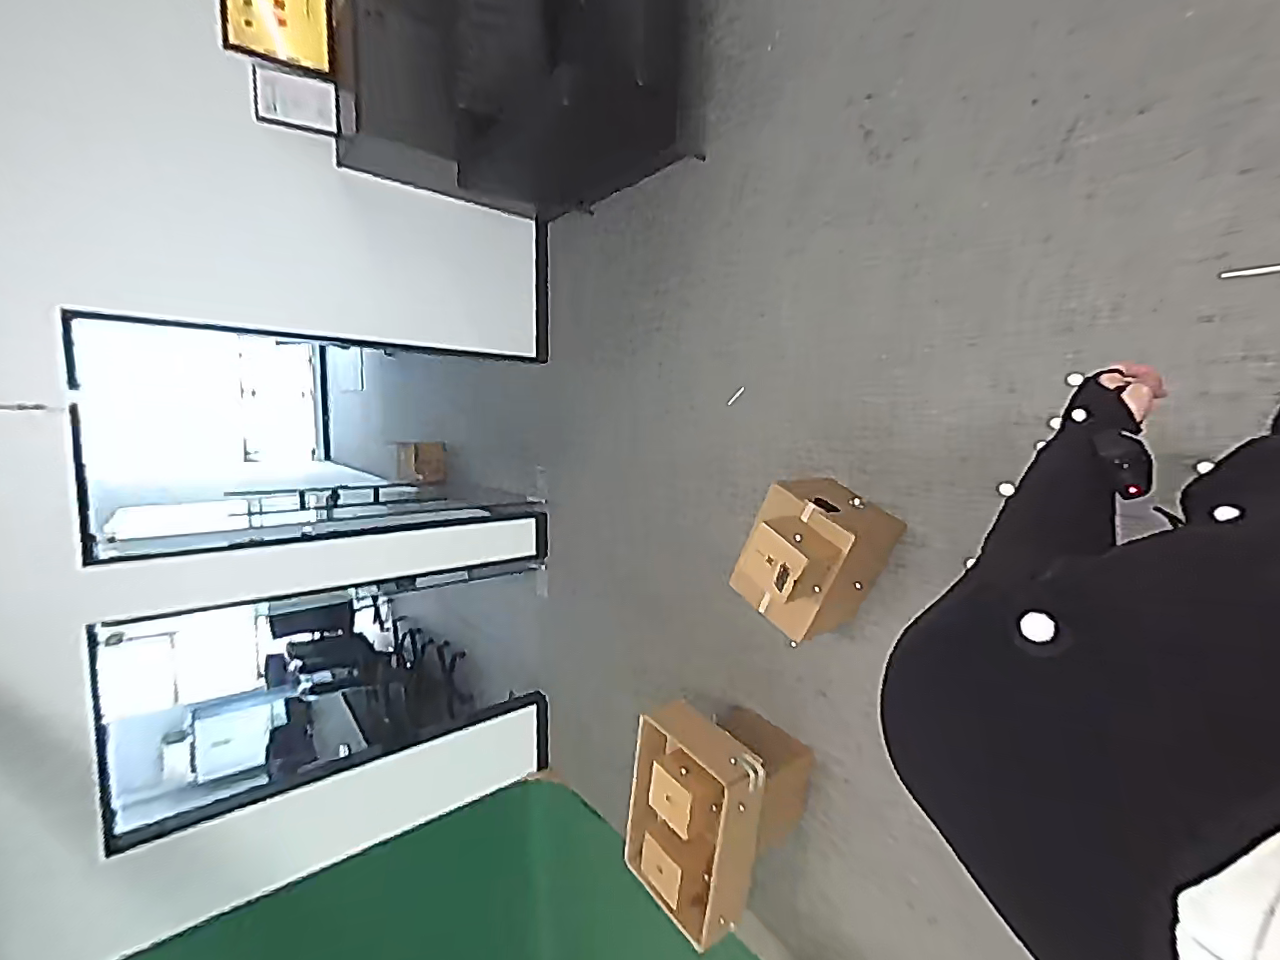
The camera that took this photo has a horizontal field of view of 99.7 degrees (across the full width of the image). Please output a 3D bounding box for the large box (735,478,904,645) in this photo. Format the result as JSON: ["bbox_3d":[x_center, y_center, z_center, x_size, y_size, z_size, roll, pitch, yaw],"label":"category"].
[{"bbox_3d":[0.572,0.243,1.747,0.320,0.320,0.408,40,123,42],"label":"large box"}]

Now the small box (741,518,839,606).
[{"bbox_3d":[0.428,0.223,1.532,0.179,0.176,0.168,43,124,38],"label":"small box"}]

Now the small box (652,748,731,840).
[{"bbox_3d":[0.166,1.002,1.748,0.179,0.176,0.168,19,107,46],"label":"small box"}]
